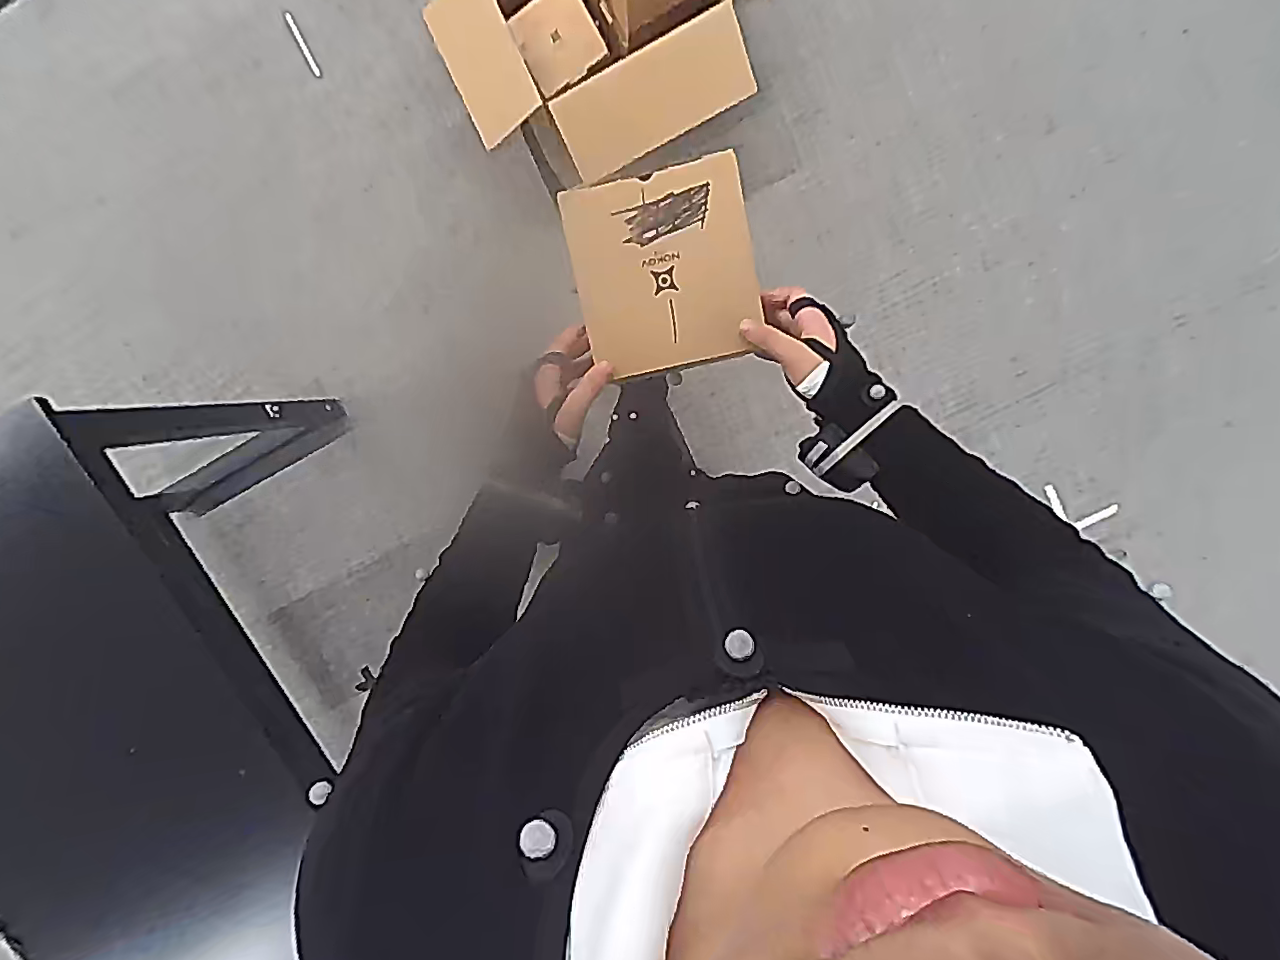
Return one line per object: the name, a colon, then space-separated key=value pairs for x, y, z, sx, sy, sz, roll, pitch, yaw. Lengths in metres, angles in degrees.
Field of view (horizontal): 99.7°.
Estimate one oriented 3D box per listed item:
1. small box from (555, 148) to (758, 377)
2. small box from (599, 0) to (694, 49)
small box: x=0.019 y=-0.214 z=0.582 sx=0.168 sy=0.176 sz=0.179 roll=-12 pitch=100 yaw=5
small box: x=0.006 y=-1.000 z=1.044 sx=0.179 sy=0.176 sz=0.168 roll=-28 pitch=97 yaw=5
